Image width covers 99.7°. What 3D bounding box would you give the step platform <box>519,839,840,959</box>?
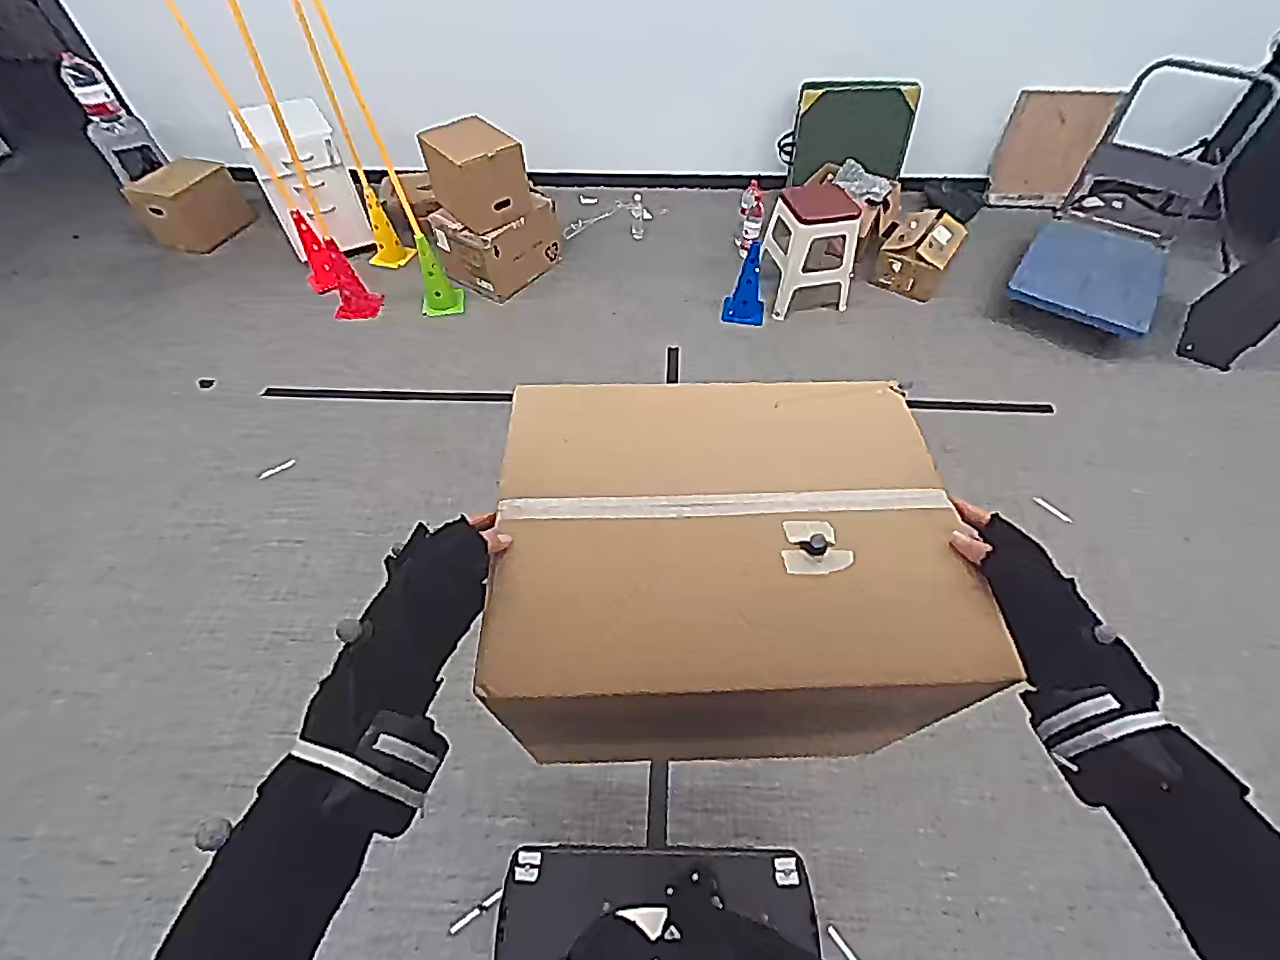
[{"bbox_3d":[0.080,0.971,1.202,0.684,0.204,0.286,0,53,-1],"label":"step platform"}]

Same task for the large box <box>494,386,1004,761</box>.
[{"bbox_3d":[0.075,0.115,0.615,0.408,0.320,0.320,-1,55,-2],"label":"large box"}]
